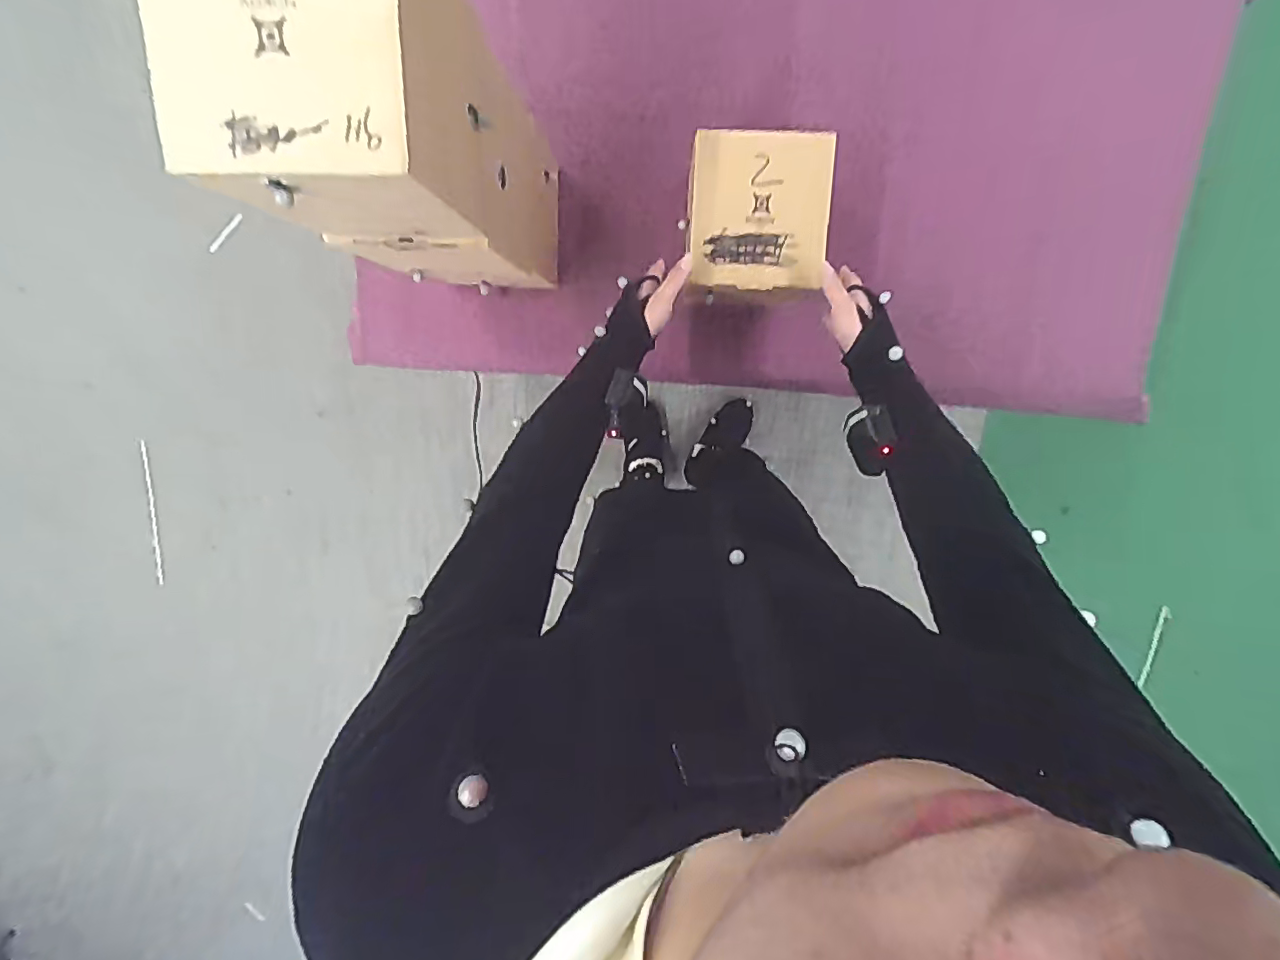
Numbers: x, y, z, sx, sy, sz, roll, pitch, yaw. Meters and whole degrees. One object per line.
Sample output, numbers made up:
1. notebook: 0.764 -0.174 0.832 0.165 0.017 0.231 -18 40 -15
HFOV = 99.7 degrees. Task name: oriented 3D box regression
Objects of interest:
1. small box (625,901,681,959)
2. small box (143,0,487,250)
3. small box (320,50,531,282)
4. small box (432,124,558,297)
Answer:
1. small box: 0.042 1.554 1.790 0.168 0.176 0.179 10 103 1
2. small box: -0.226 -0.293 0.418 0.168 0.176 0.179 3 100 3
3. small box: -0.218 -0.317 0.580 0.168 0.176 0.179 3 100 3
4. small box: -0.210 -0.357 0.738 0.168 0.176 0.179 3 102 3
